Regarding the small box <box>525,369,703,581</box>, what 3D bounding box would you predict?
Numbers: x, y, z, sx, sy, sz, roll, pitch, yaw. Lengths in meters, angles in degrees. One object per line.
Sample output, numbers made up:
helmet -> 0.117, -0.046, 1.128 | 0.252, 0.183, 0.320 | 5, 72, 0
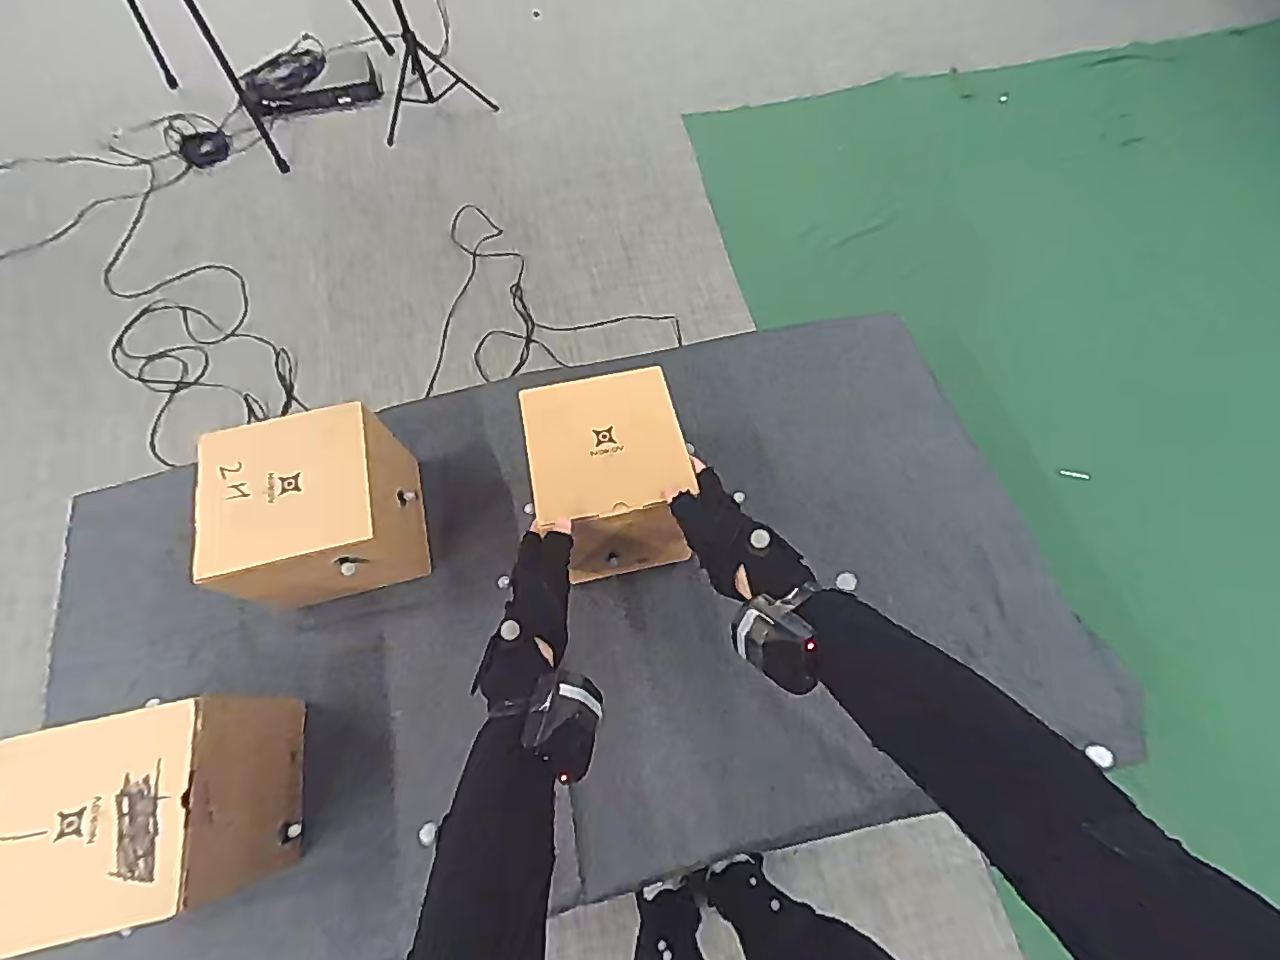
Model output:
small box -> -0.034, -0.002, 0.639 | 0.168, 0.176, 0.179 | -11, 61, -6

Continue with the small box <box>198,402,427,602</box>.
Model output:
small box -> -0.365, 0.034, 0.636 | 0.179, 0.176, 0.168 | -13, 68, -5

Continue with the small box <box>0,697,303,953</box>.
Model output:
small box -> -0.458, 0.311, 0.522 | 0.179, 0.176, 0.168 | -11, 67, -4
